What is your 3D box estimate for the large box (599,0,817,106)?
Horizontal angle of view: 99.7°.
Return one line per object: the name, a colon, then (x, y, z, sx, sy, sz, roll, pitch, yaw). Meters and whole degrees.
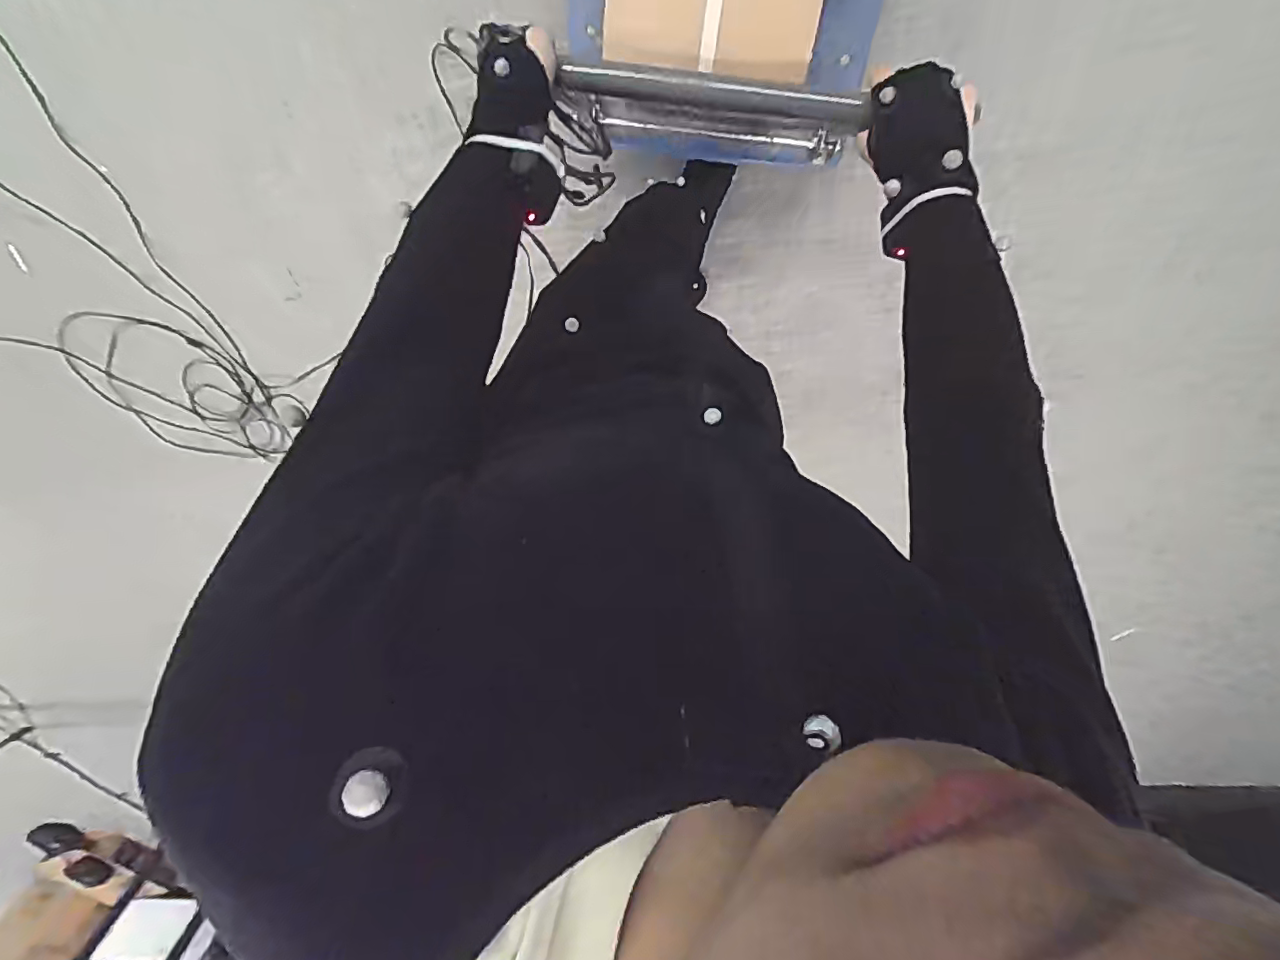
large box: (0.118, -0.855, 0.854, 0.320, 0.320, 0.408, 7, 121, -1)
